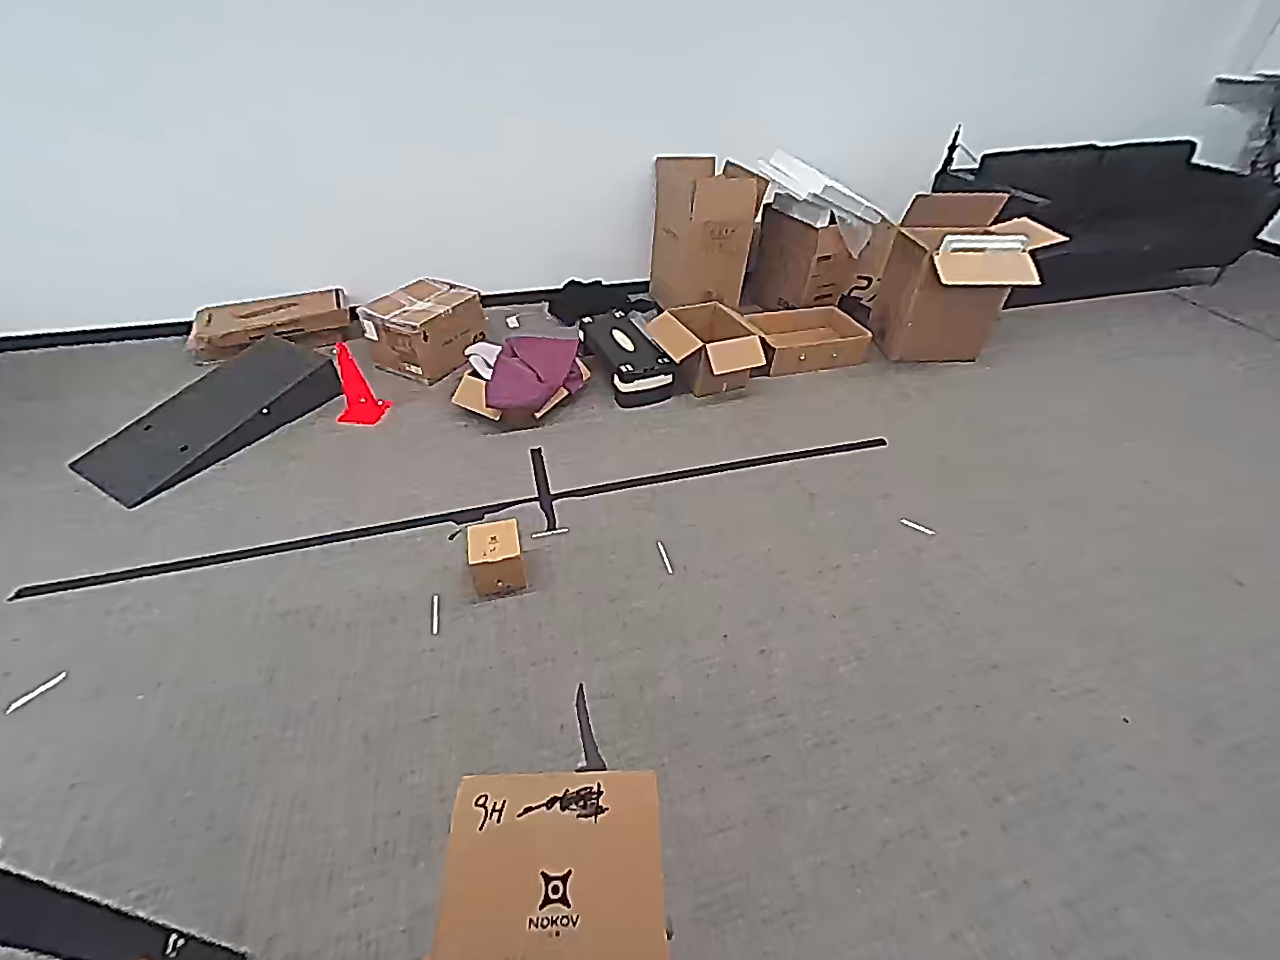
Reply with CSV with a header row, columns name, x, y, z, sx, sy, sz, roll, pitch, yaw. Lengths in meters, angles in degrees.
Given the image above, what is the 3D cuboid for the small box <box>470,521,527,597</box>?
name,x,y,z,sx,sy,sz,roll,pitch,yaw
small box,-0.484,0.270,1.844,0.168,0.176,0.179,-9,43,-12
